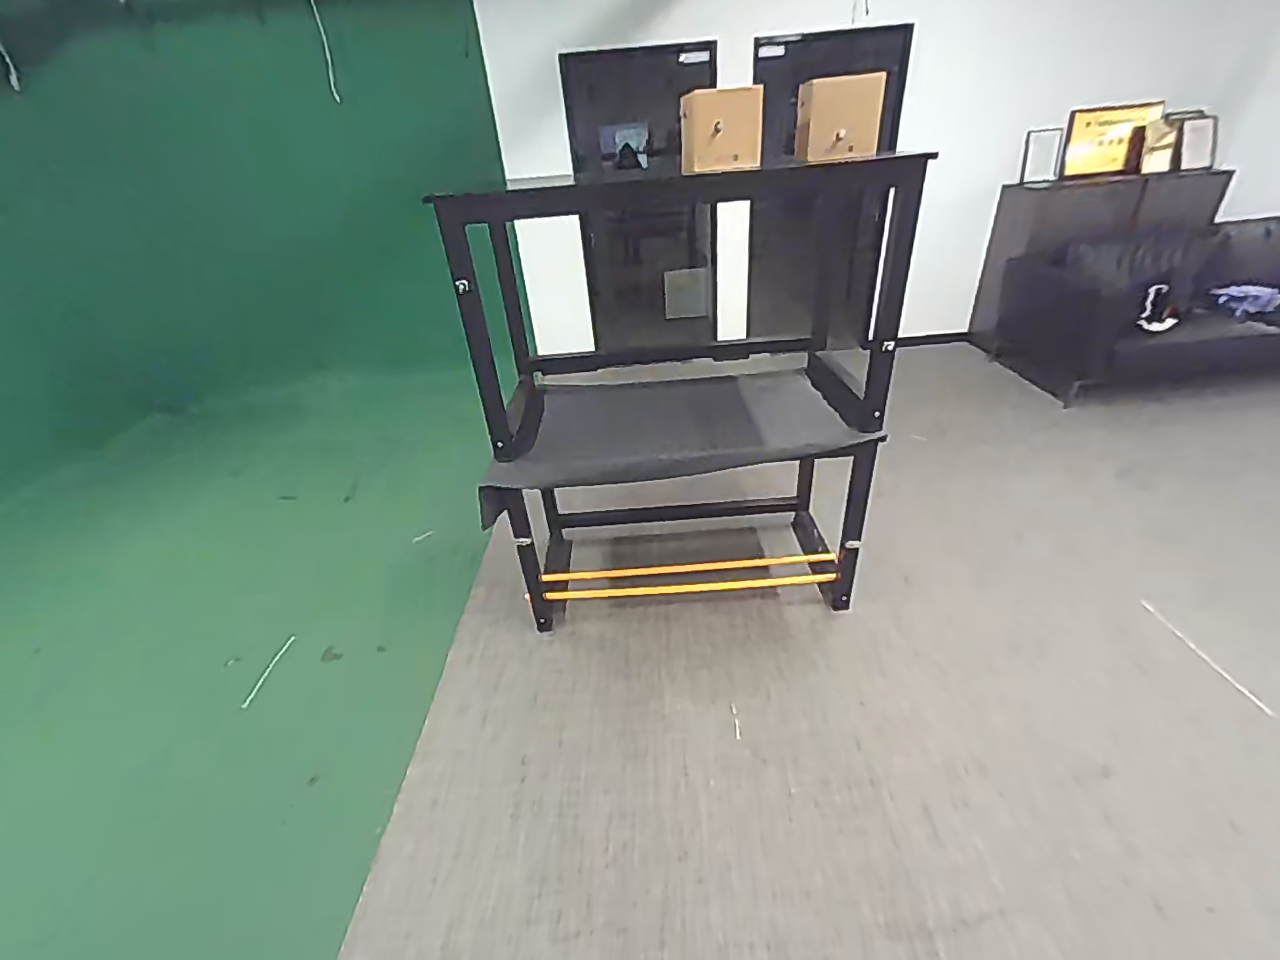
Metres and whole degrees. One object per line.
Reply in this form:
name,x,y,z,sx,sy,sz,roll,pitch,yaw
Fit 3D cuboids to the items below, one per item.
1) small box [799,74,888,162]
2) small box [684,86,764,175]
small box,0.501,-0.900,1.357,0.168,0.176,0.179,-2,32,6
small box,0.208,-0.872,1.359,0.168,0.176,0.179,-7,31,-3
